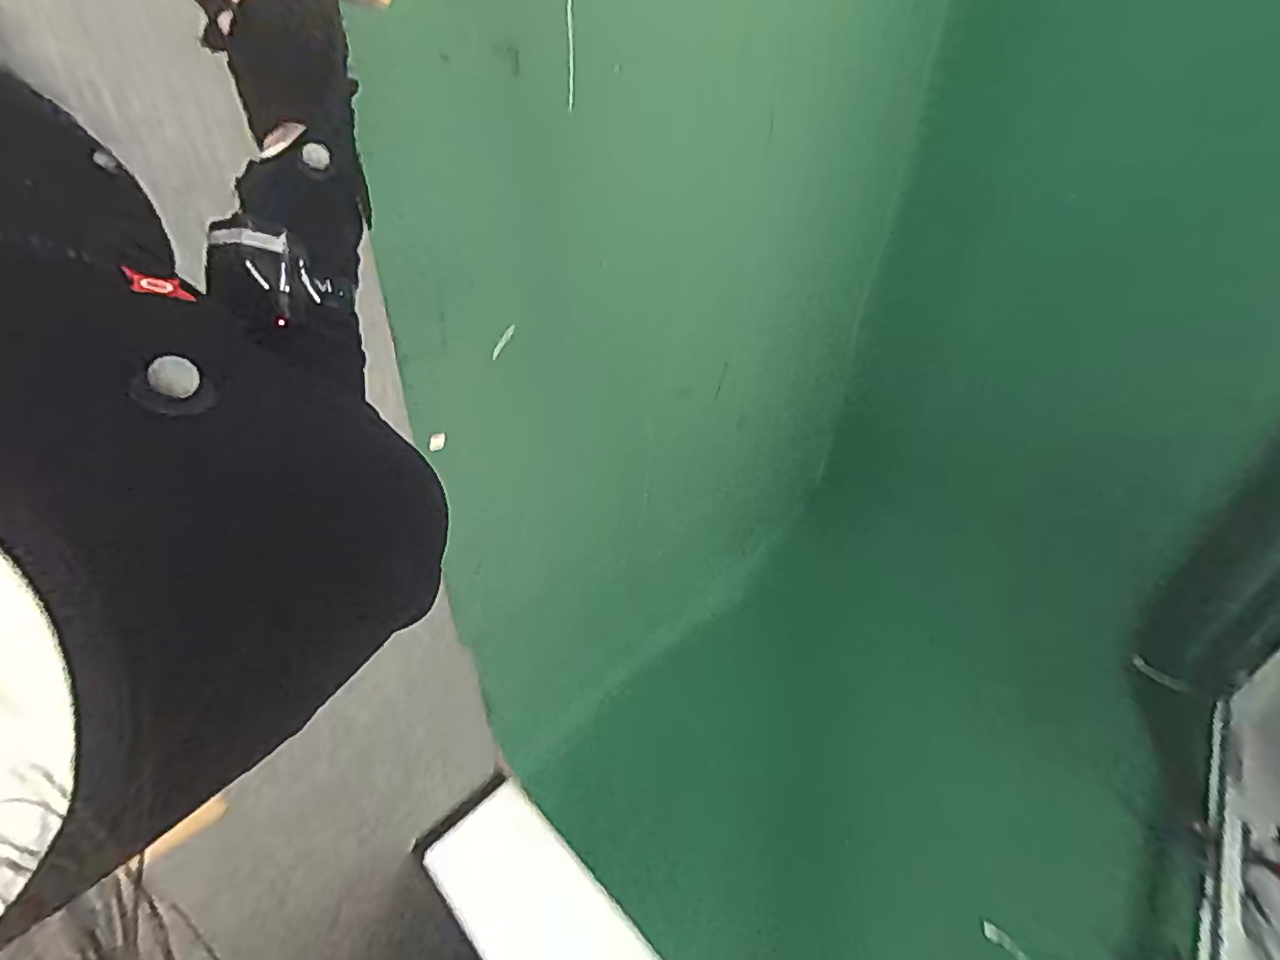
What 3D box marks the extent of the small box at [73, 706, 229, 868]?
[{"bbox_3d":[-0.954,0.591,1.060,0.179,0.176,0.168,-29,128,-36],"label":"small box"}]
